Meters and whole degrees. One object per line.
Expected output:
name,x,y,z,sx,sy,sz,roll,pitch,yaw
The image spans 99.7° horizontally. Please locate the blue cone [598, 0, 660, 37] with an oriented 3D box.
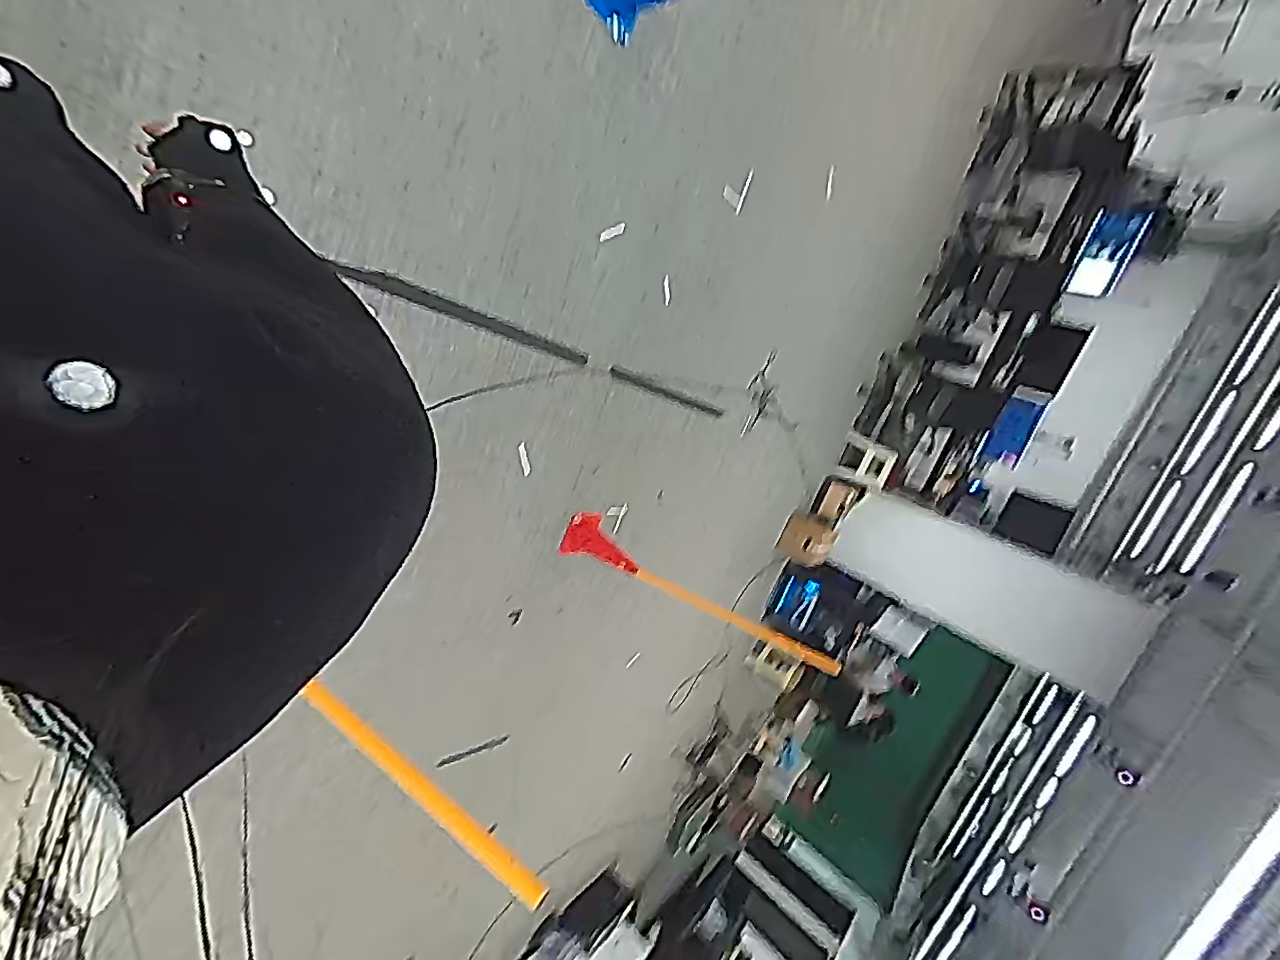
blue cone,0.068,-1.333,1.423,0.192,0.380,0.193,12,104,-56
